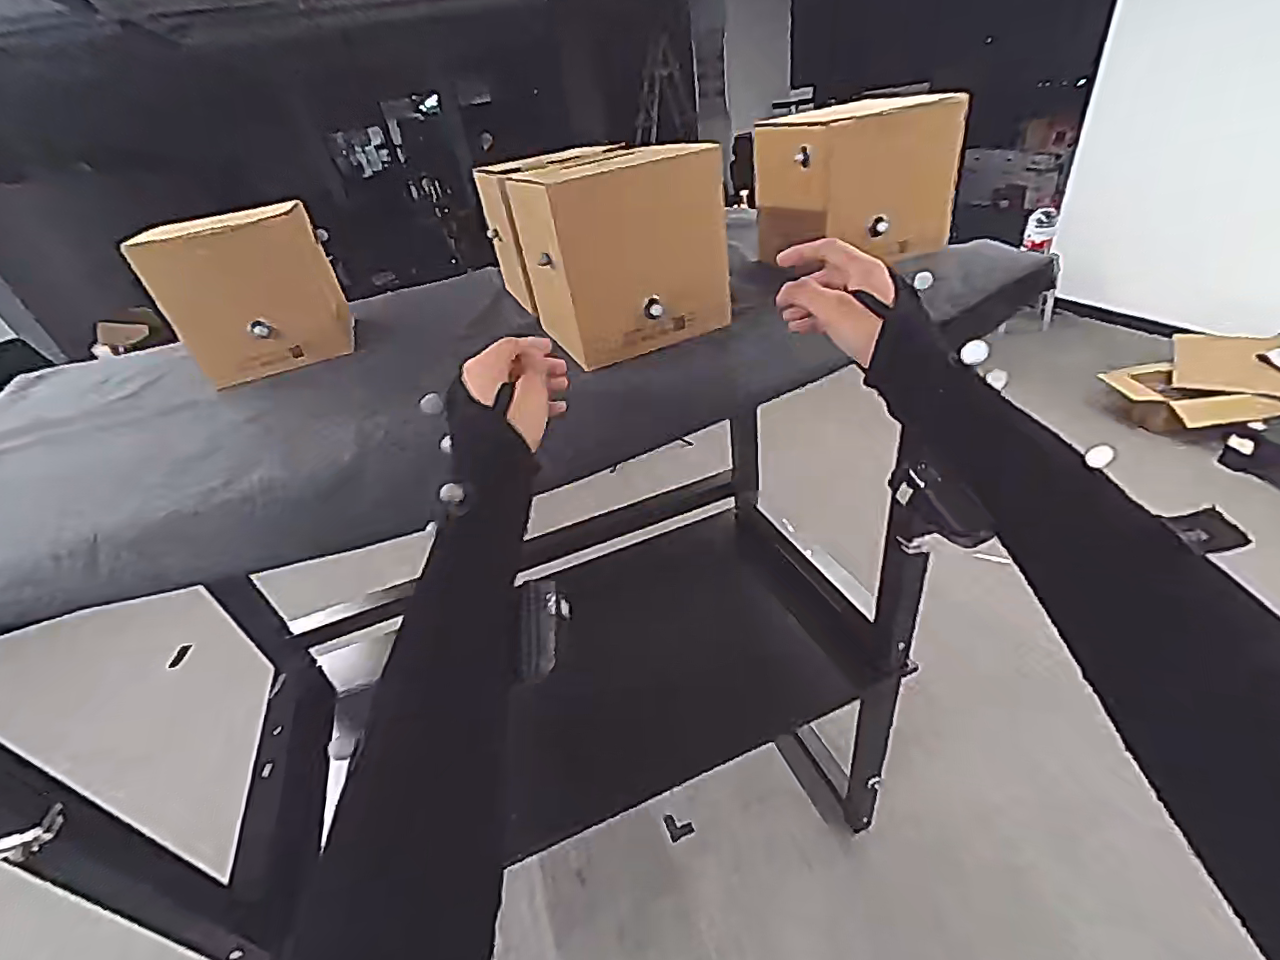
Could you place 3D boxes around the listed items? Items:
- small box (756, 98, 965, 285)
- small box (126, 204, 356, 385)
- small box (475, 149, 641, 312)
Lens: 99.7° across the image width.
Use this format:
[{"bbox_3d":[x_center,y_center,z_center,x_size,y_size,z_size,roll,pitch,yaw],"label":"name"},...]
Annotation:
[{"bbox_3d":[0.254,-0.355,0.670,0.168,0.176,0.179,-17,35,-8],"label":"small box"},{"bbox_3d":[-0.485,-0.241,0.693,0.168,0.176,0.179,-21,37,-15],"label":"small box"},{"bbox_3d":[-0.111,-0.344,0.748,0.168,0.176,0.179,-20,35,-15],"label":"small box"}]
